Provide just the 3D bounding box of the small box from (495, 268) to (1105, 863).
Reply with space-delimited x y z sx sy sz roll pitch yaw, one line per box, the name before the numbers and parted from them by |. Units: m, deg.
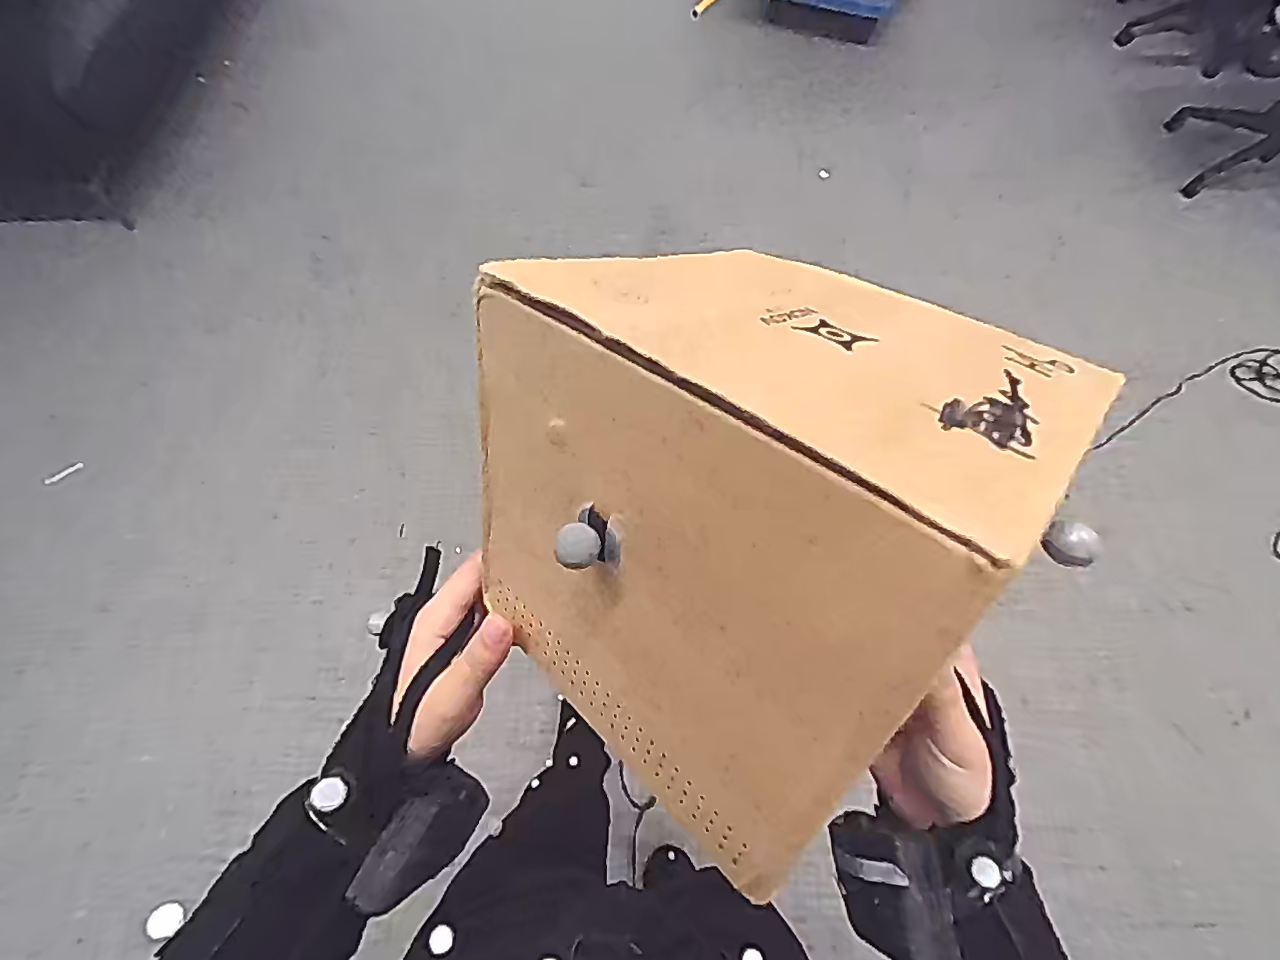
small box | 0.052 0.017 0.246 0.179 0.176 0.168 33 42 31
